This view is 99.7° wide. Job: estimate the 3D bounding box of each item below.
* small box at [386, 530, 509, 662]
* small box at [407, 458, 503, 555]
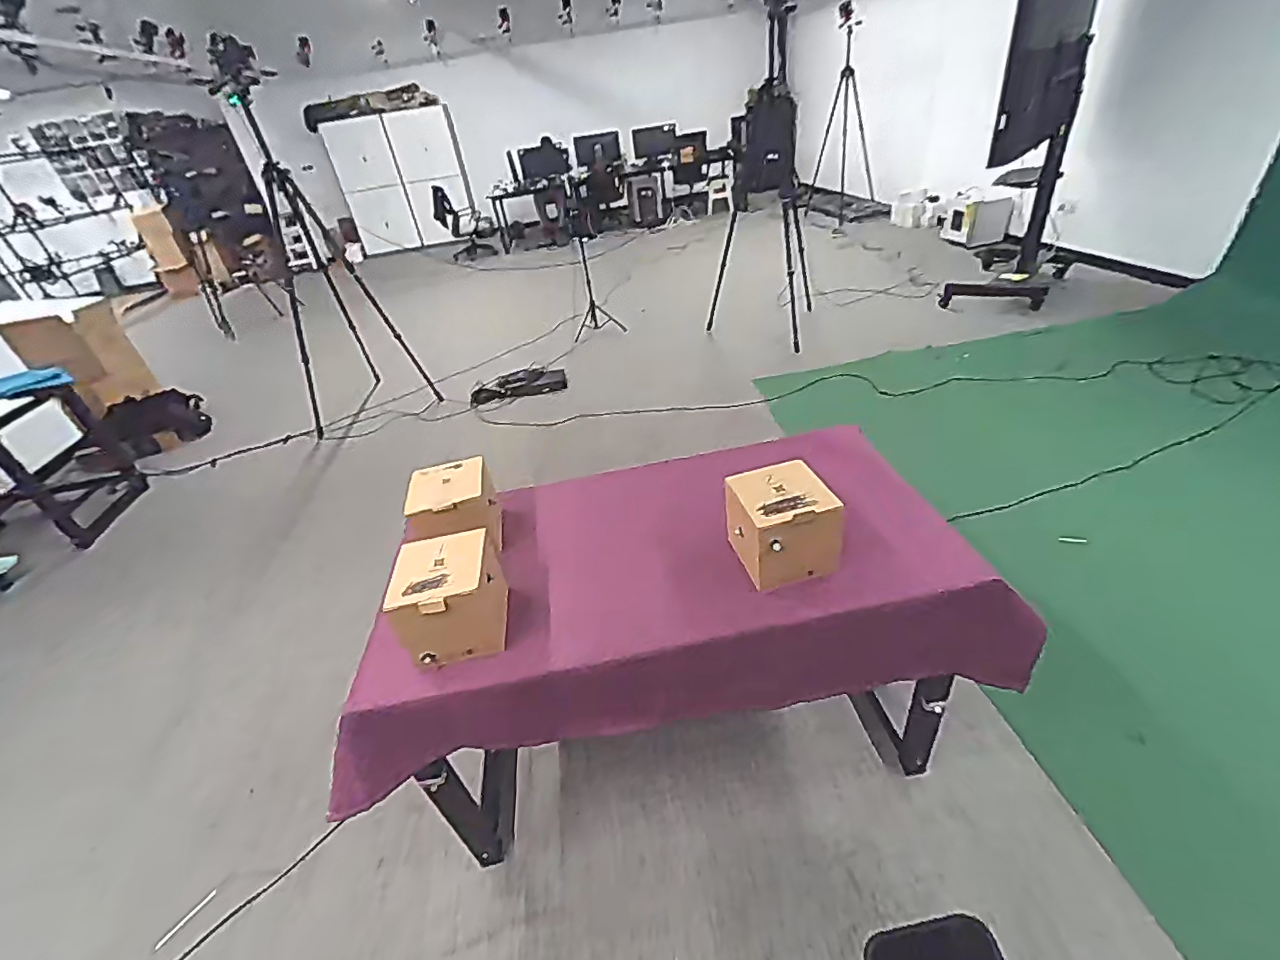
[{"bbox_3d":[-0.354,0.225,1.032,0.168,0.176,0.179,-11,33,-3],"label":"small box"},{"bbox_3d":[-0.420,0.077,1.259,0.168,0.176,0.179,-13,36,-6],"label":"small box"}]
